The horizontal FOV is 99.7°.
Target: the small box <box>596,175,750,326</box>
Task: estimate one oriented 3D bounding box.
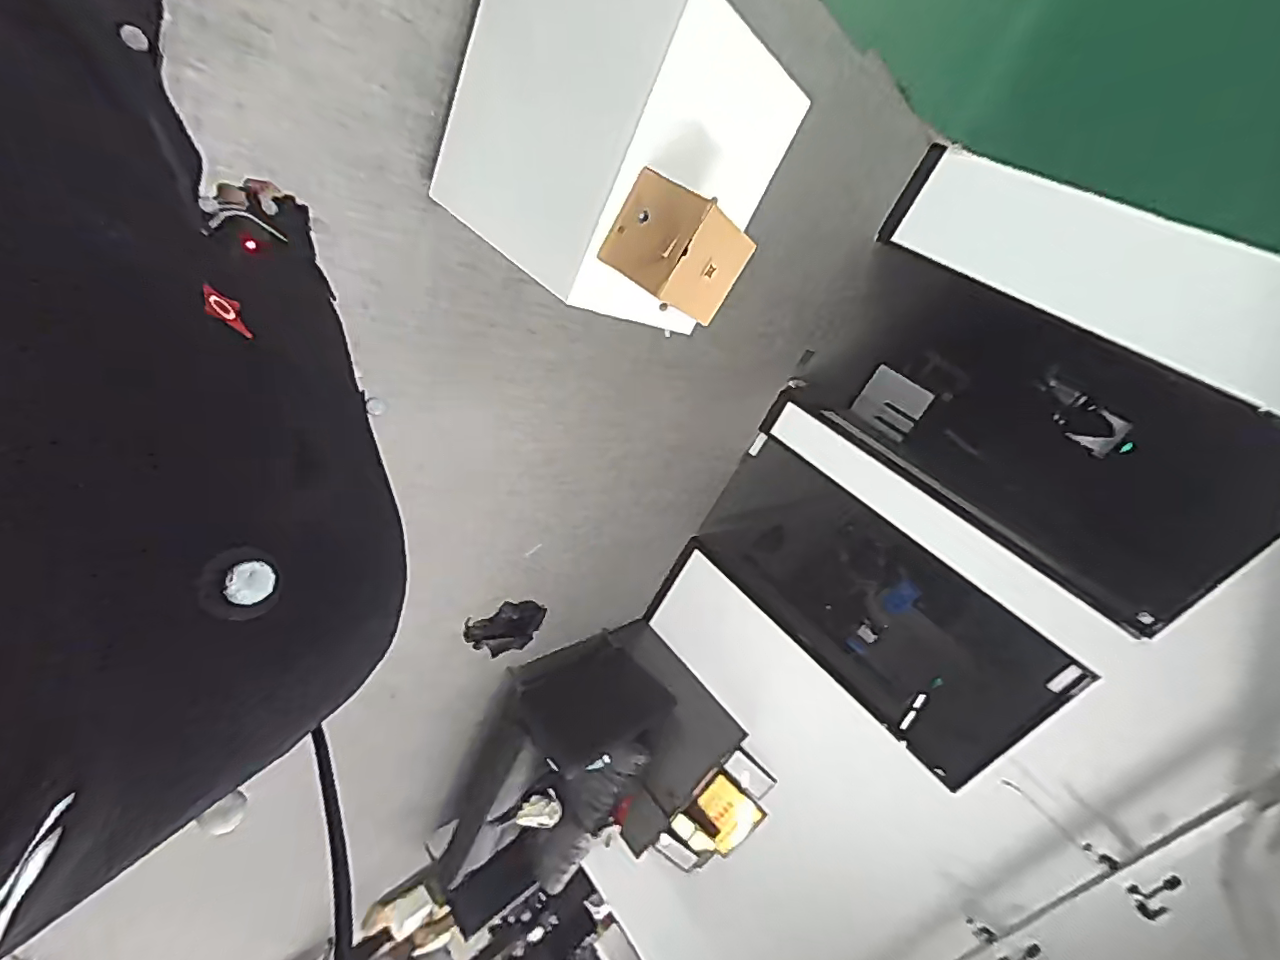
[{"bbox_3d":[0.057,-0.406,0.961,0.179,0.176,0.168,3,125,-55],"label":"small box"}]
